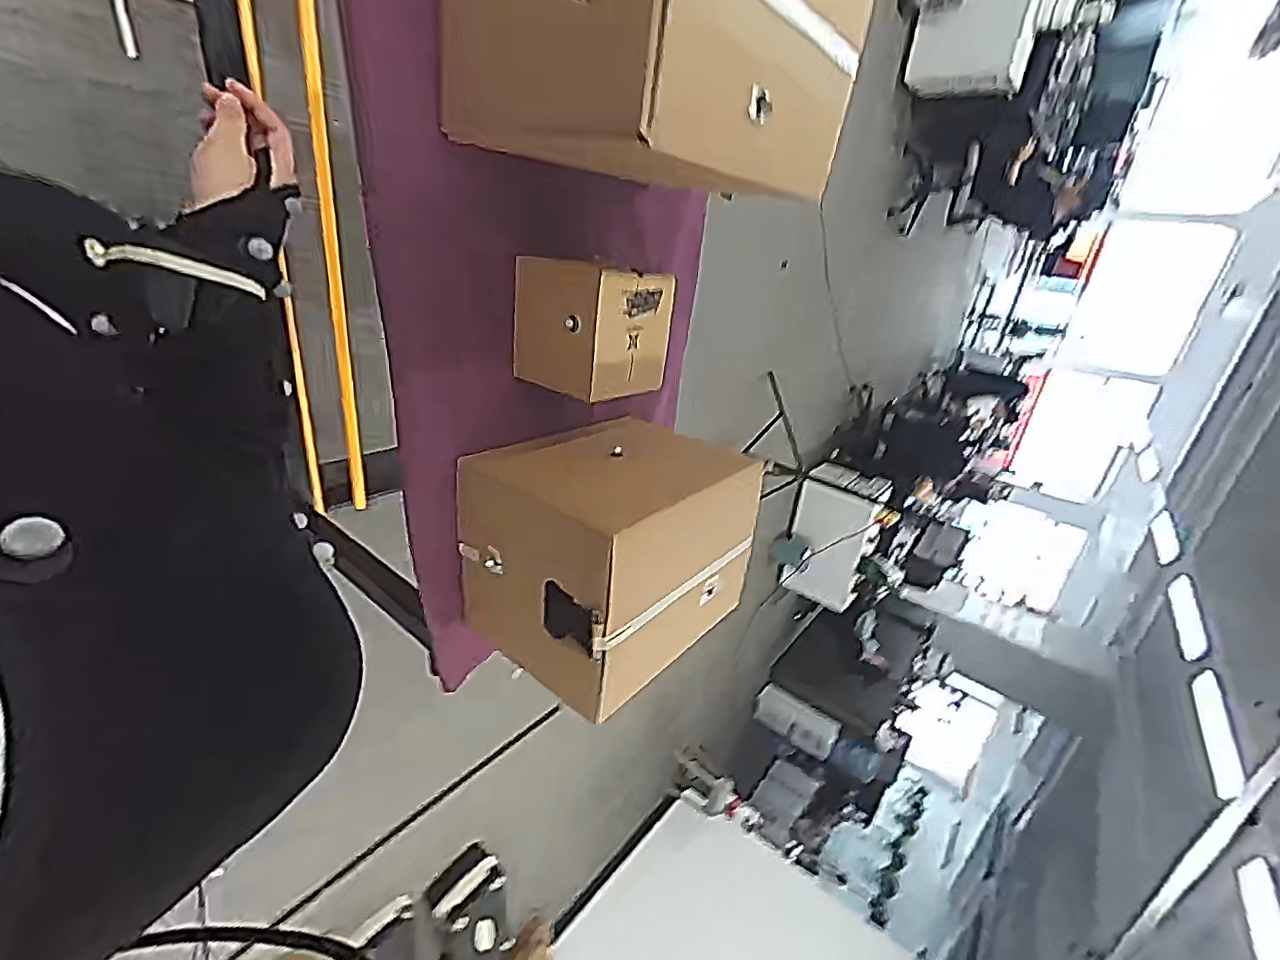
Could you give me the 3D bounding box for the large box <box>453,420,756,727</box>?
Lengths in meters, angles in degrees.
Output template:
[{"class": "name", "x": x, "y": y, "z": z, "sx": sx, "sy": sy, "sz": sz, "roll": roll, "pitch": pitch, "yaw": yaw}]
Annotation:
[{"class": "large box", "x": -0.053, "y": 0.111, "z": 0.918, "sx": 0.408, "sy": 0.320, "sz": 0.320, "roll": -23, "pitch": 128, "yaw": -49}]
